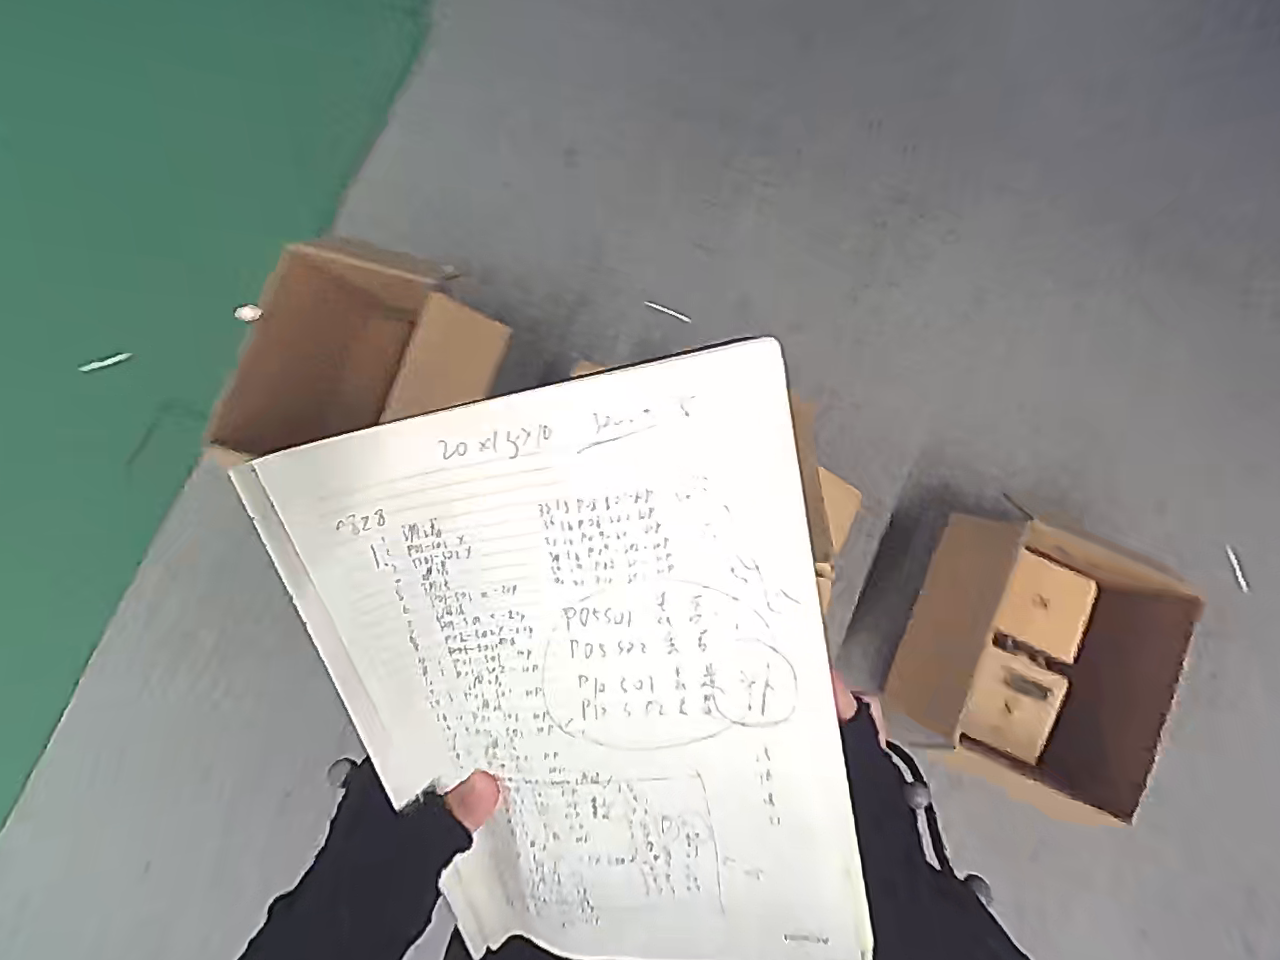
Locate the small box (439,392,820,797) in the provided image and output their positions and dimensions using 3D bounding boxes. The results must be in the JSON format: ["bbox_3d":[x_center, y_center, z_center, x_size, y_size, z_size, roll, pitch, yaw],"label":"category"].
[{"bbox_3d":[0.005,0.055,0.335,0.168,0.176,0.179,4,122,9],"label":"small box"}]
